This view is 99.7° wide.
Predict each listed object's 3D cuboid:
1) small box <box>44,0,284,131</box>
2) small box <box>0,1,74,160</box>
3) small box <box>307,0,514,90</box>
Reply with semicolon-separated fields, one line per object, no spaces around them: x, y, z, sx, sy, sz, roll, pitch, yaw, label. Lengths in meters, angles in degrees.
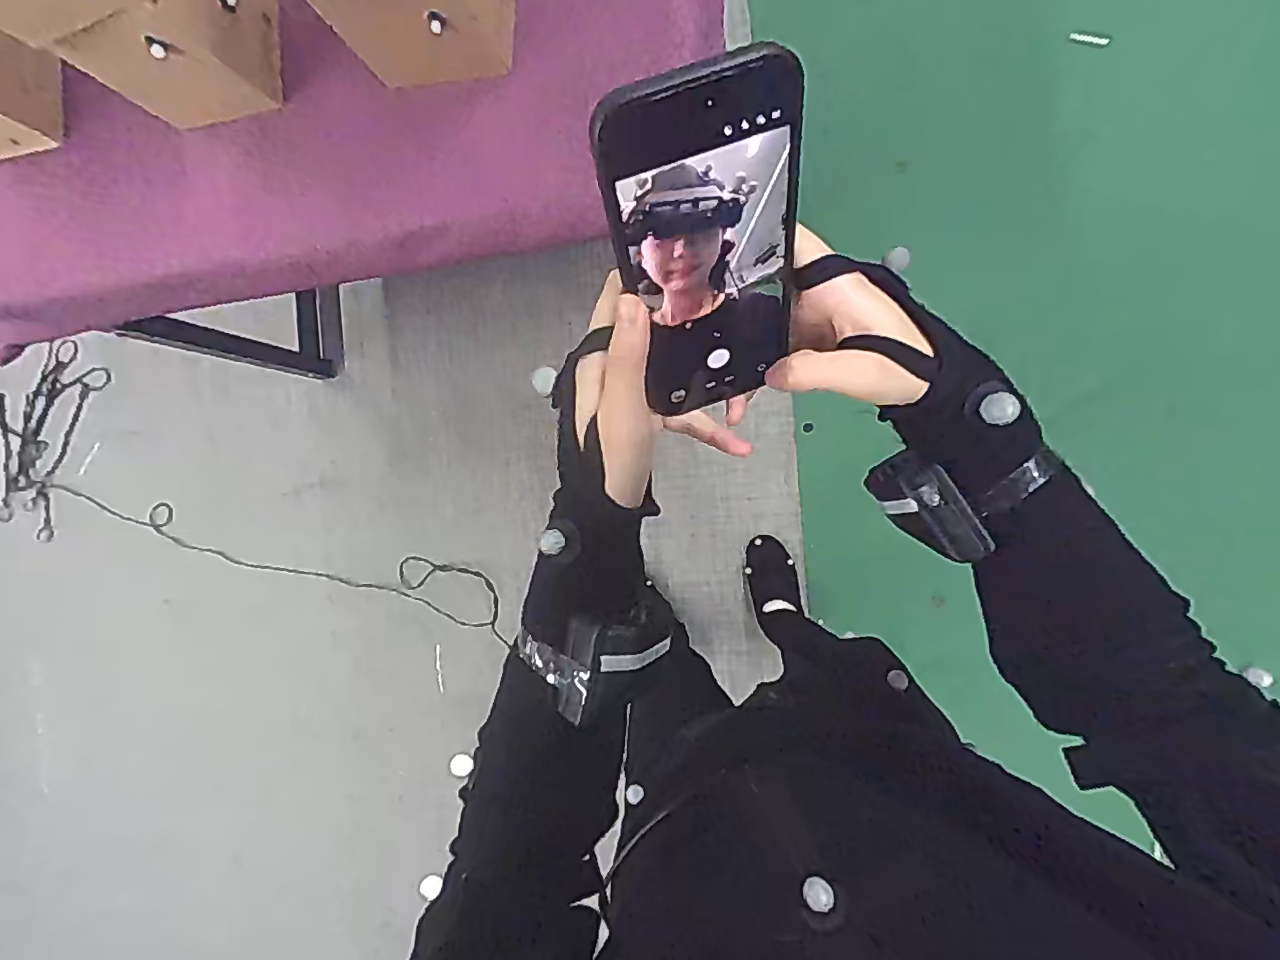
-0.584;-0.581;0.681;0.179;0.176;0.168;-2;89;13;small box
-0.965;-0.587;0.769;0.168;0.176;0.179;-2;89;13;small box
-0.251;-0.581;0.607;0.179;0.176;0.168;4;90;13;small box
